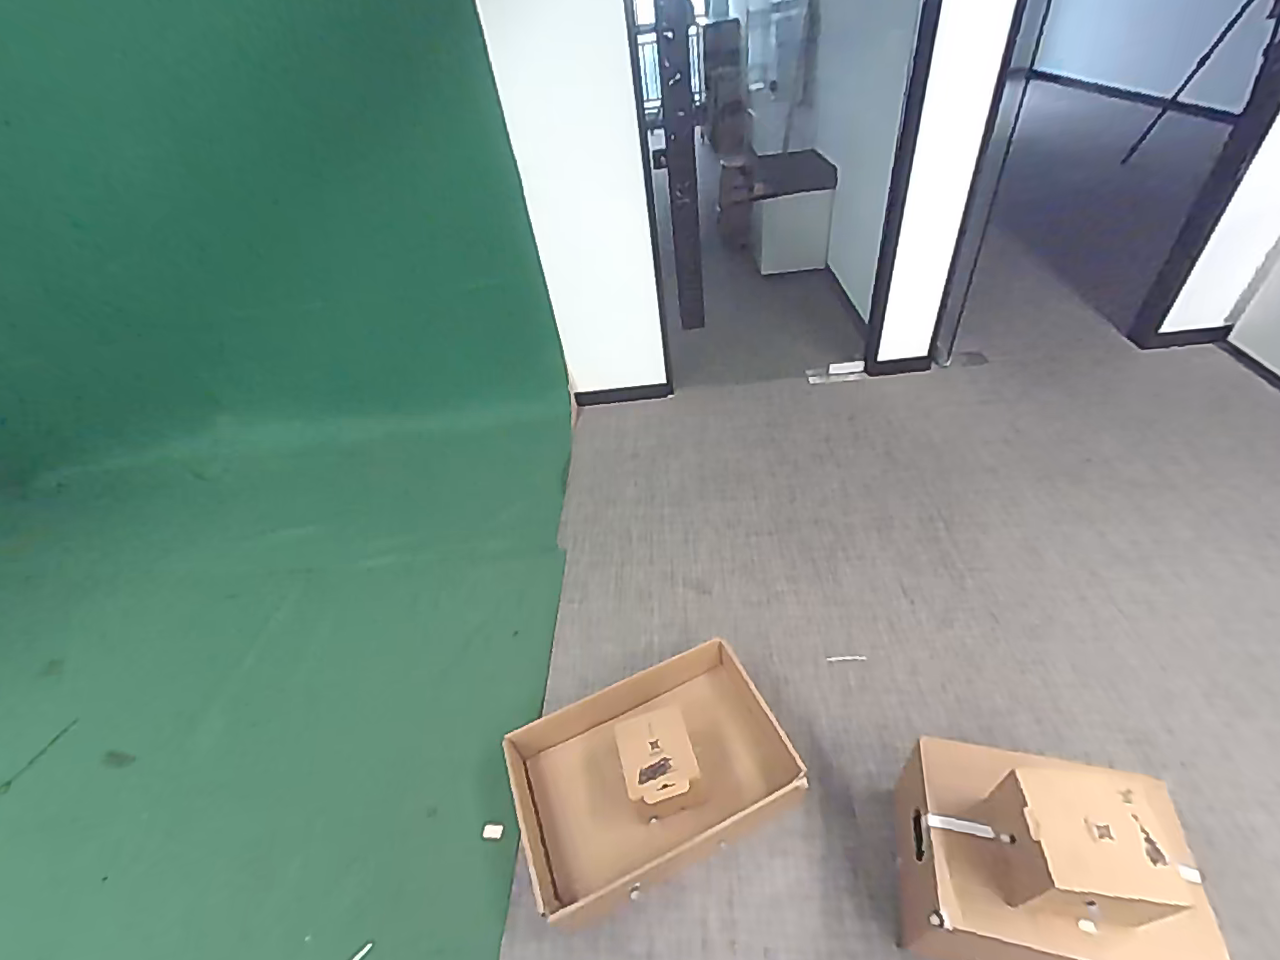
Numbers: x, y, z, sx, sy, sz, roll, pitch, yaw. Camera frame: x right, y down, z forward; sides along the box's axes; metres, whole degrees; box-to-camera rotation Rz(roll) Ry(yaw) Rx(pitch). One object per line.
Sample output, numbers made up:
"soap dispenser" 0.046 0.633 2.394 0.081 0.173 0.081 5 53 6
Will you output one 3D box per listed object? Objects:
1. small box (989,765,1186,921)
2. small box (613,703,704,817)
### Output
"small box" 0.689 0.582 0.867 0.179 0.176 0.168 0 44 12
"small box" 0.046 0.672 1.287 0.168 0.176 0.179 -16 40 -5
